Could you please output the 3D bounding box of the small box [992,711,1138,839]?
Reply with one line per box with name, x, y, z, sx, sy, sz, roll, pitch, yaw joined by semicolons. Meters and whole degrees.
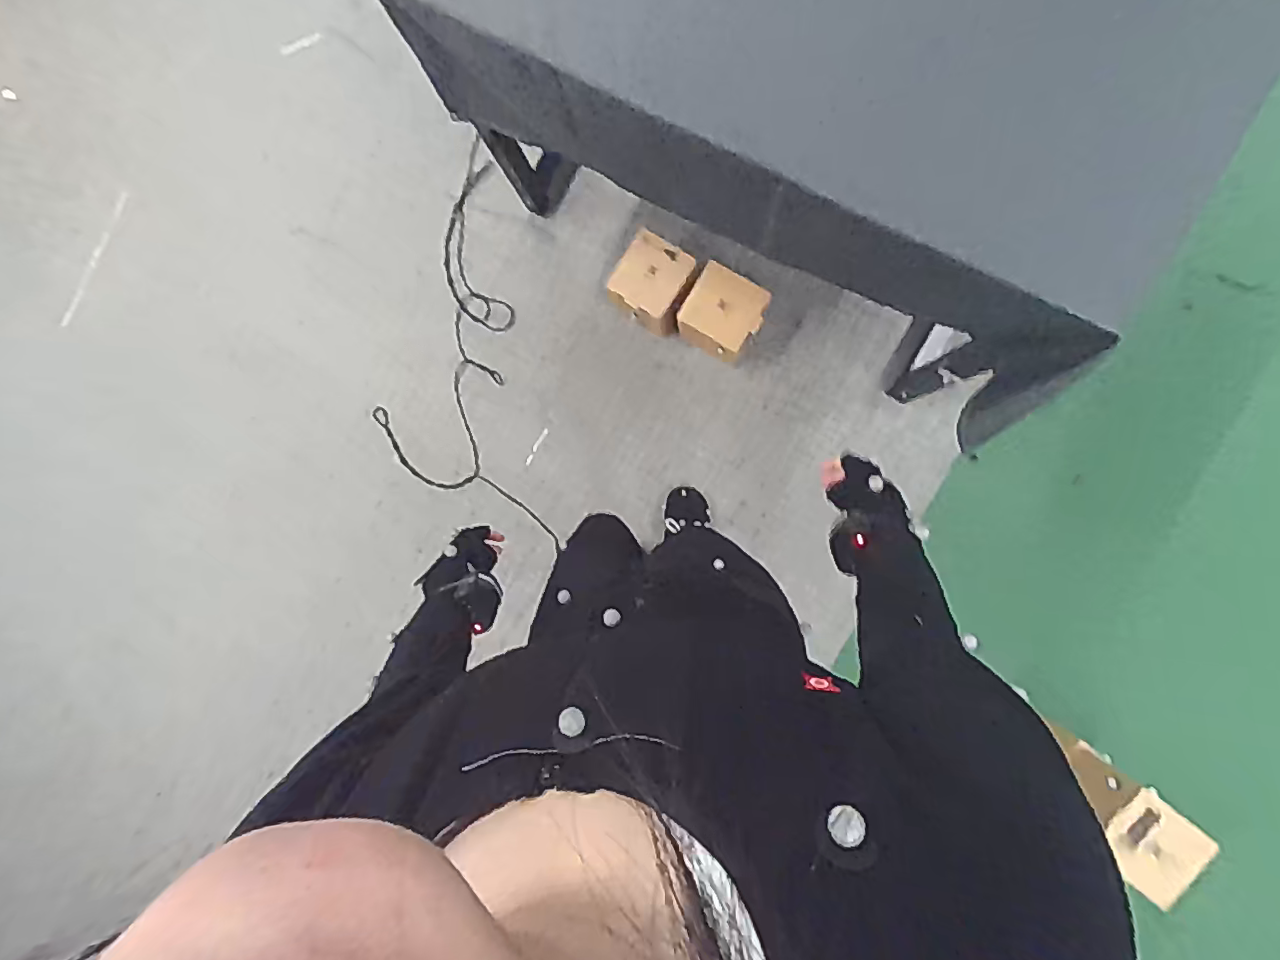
small box;1.008;0.696;1.300;0.179;0.176;0.168;40;93;5
